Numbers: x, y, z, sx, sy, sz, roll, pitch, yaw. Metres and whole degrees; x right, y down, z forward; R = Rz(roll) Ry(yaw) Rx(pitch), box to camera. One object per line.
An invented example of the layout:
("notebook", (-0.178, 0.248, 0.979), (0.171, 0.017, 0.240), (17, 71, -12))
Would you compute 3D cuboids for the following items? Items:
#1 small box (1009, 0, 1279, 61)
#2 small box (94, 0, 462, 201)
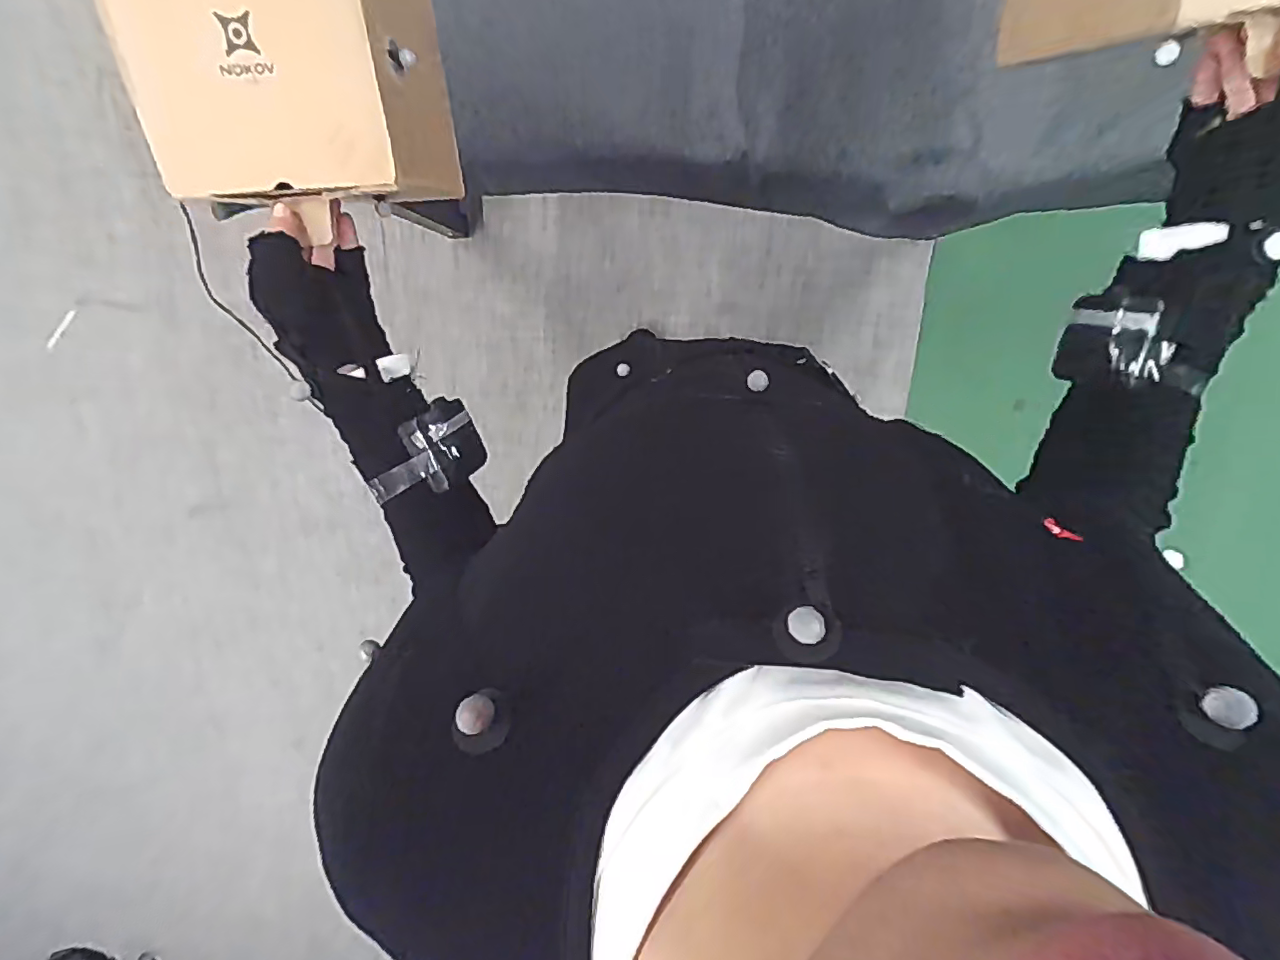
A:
("small box", (0.371, -0.381, 0.334), (0.168, 0.176, 0.179), (-9, 122, 1))
("small box", (-0.250, -0.314, 0.410), (0.168, 0.176, 0.179), (-4, 115, 1))
